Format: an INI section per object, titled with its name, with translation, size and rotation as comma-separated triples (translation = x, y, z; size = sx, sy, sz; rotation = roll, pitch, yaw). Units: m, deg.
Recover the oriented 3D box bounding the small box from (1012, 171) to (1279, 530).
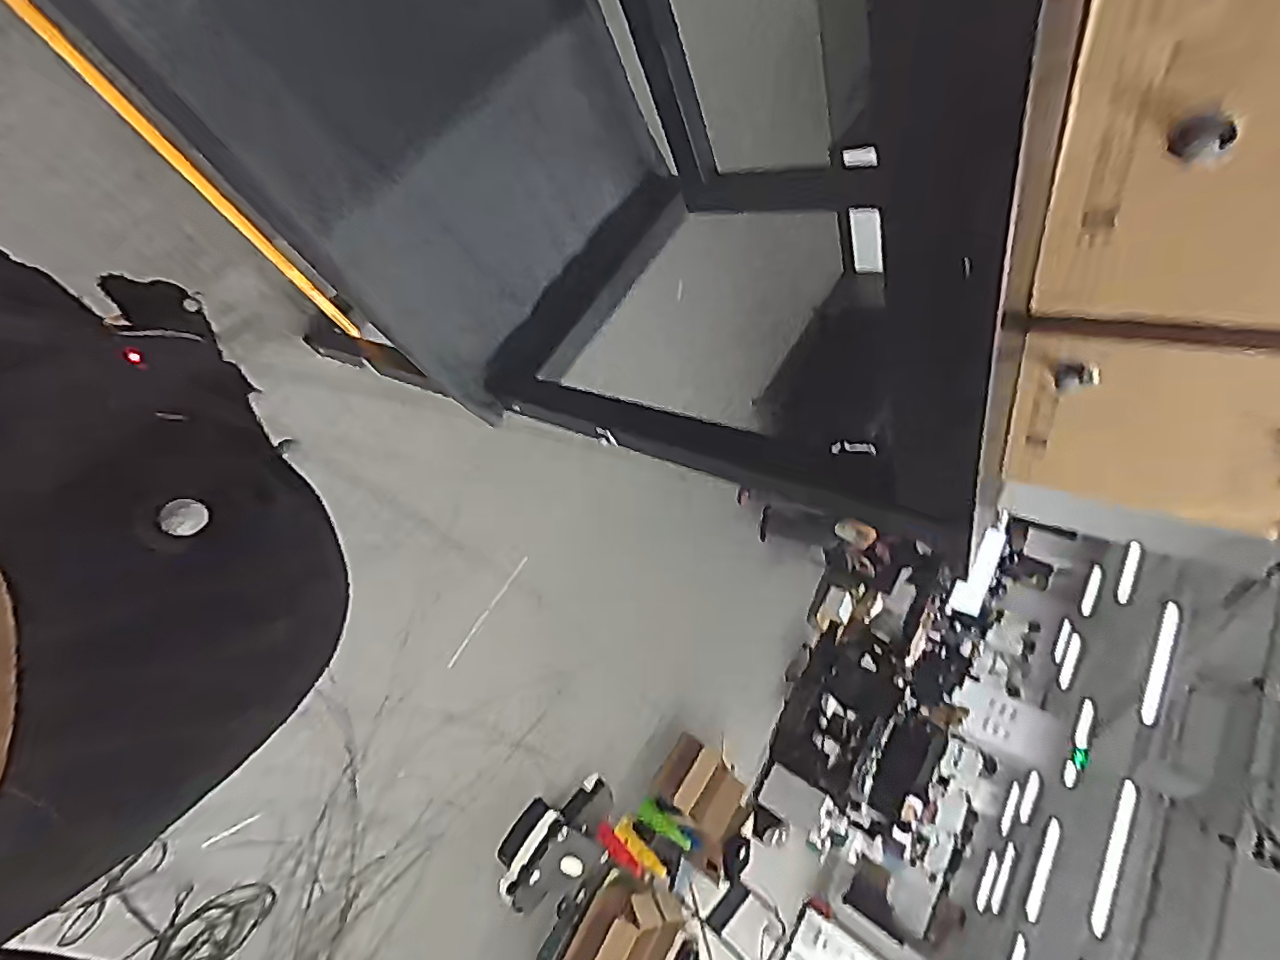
[small box]
translation = 0.395, -0.097, 0.393
size = 0.179, 0.176, 0.168
rotation = -55, 140, -22
